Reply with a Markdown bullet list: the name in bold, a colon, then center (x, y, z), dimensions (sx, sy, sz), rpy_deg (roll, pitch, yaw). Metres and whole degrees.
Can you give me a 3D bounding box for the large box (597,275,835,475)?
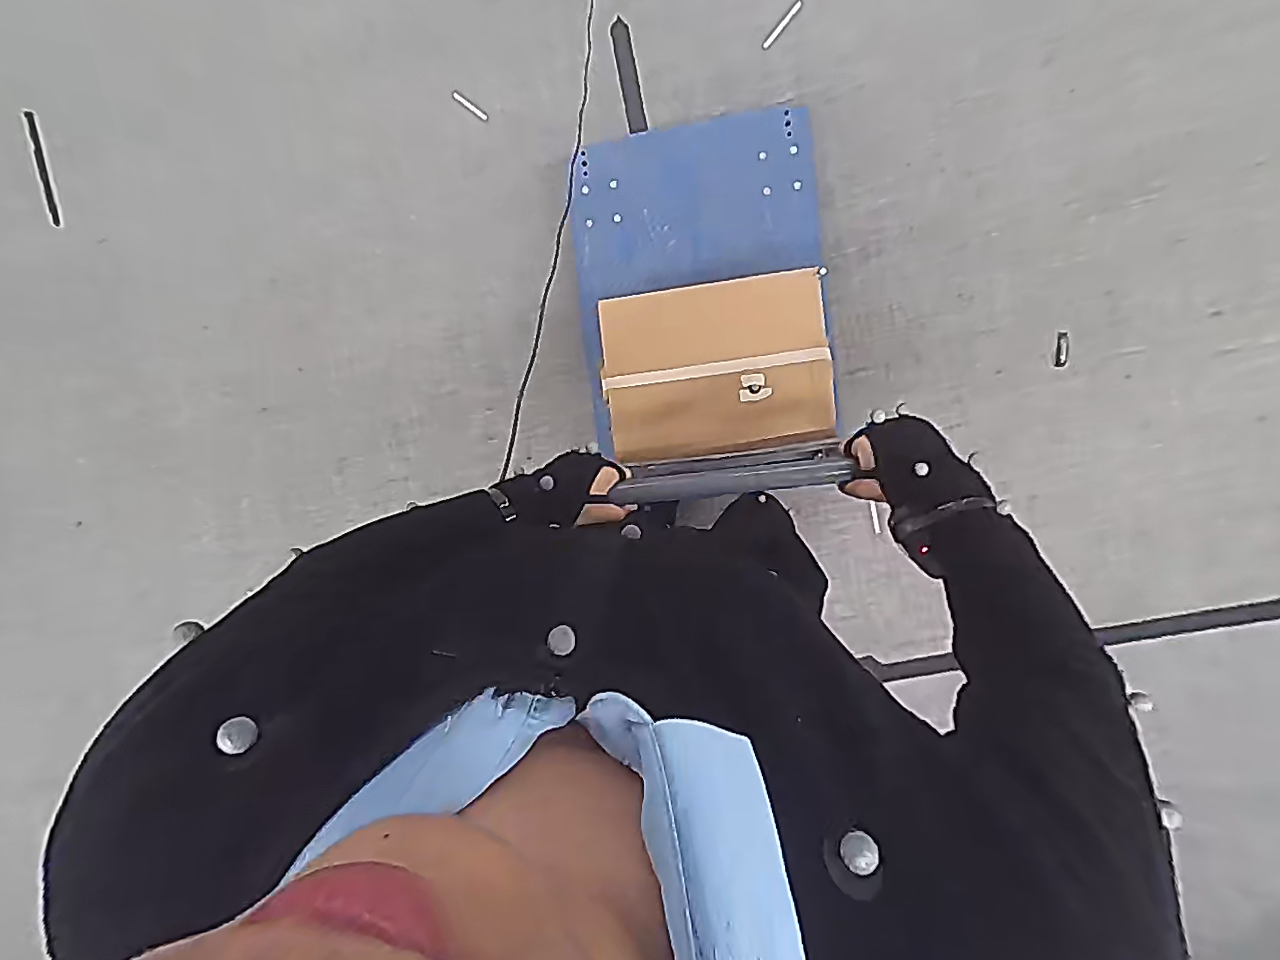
- **large box**: center (0.149, -0.188, 1.130), dimensions (0.408, 0.320, 0.320), rpy_deg (-7, 91, 7)
